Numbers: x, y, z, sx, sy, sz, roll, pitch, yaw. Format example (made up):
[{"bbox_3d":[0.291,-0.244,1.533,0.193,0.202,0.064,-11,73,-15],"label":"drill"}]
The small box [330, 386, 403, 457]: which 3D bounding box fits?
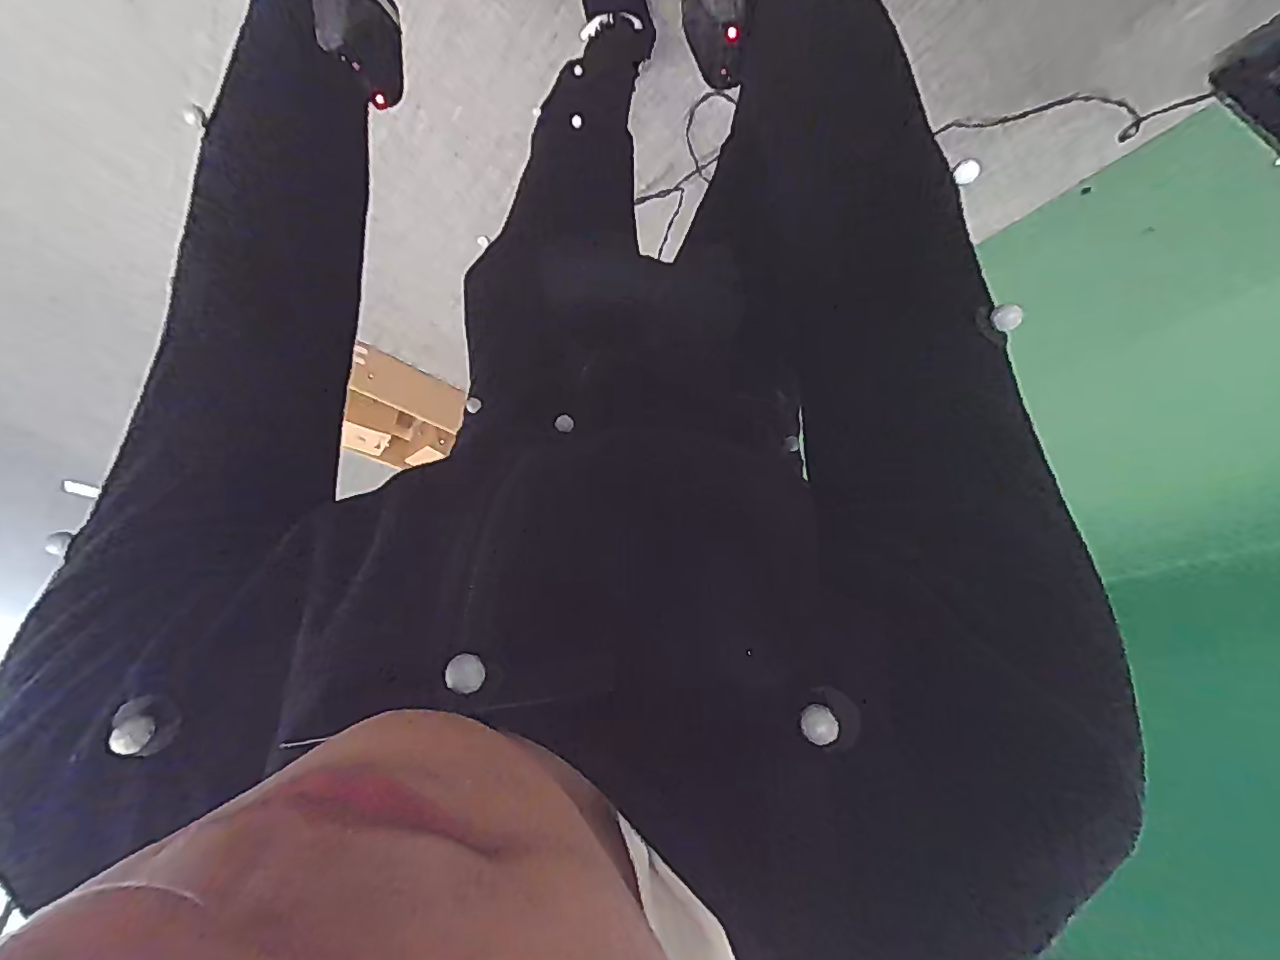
[{"bbox_3d":[-0.987,-0.215,1.957,0.179,0.176,0.168,22,143,-31],"label":"small box"}]
